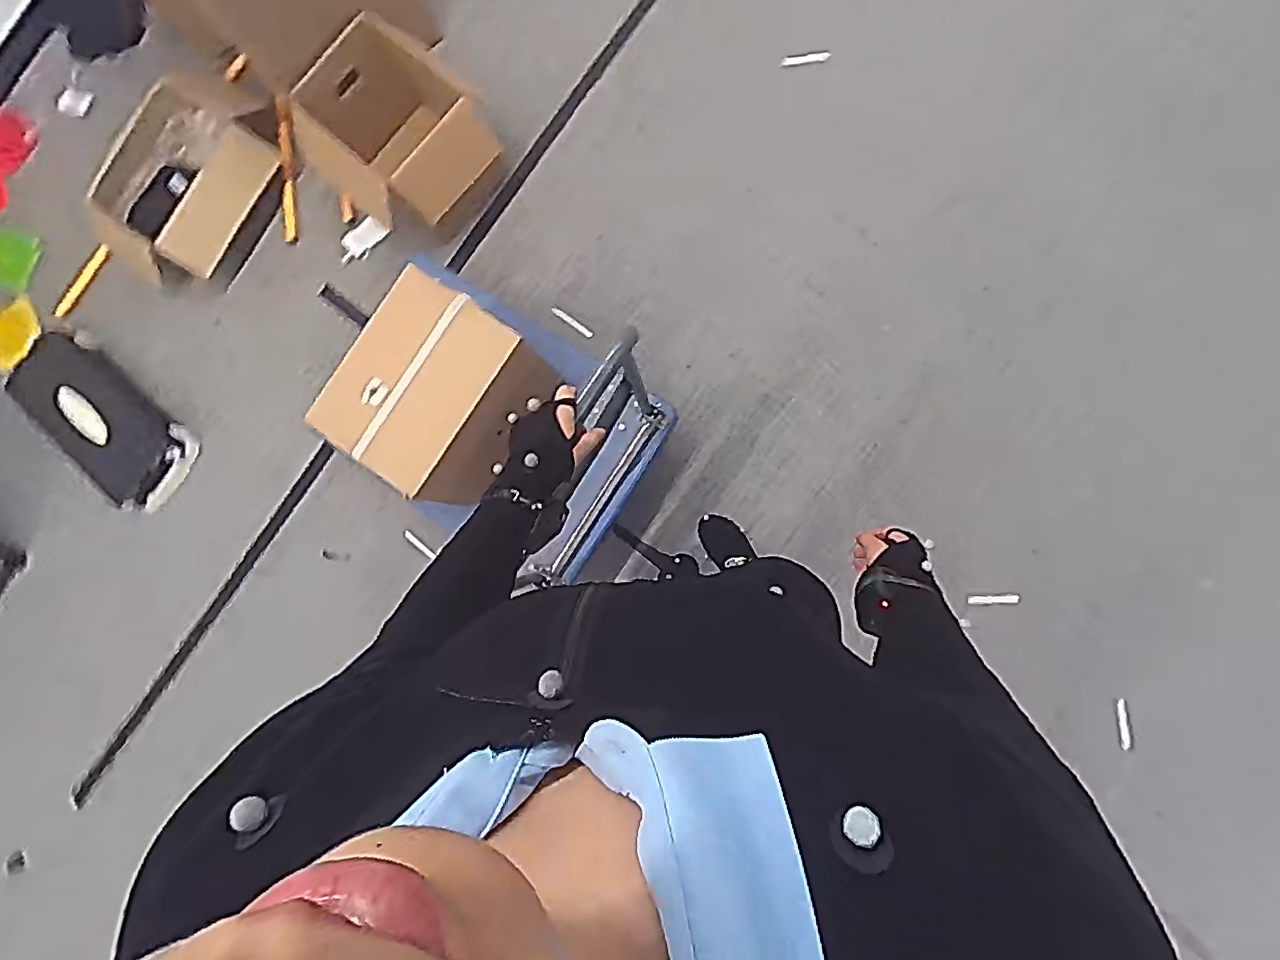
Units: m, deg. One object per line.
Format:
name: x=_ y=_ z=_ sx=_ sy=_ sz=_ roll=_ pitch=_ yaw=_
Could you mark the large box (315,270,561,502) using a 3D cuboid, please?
large box: x=-0.450 y=-0.198 z=1.284 sx=0.320 sy=0.320 sz=0.408 roll=34 pitch=91 yaw=11
